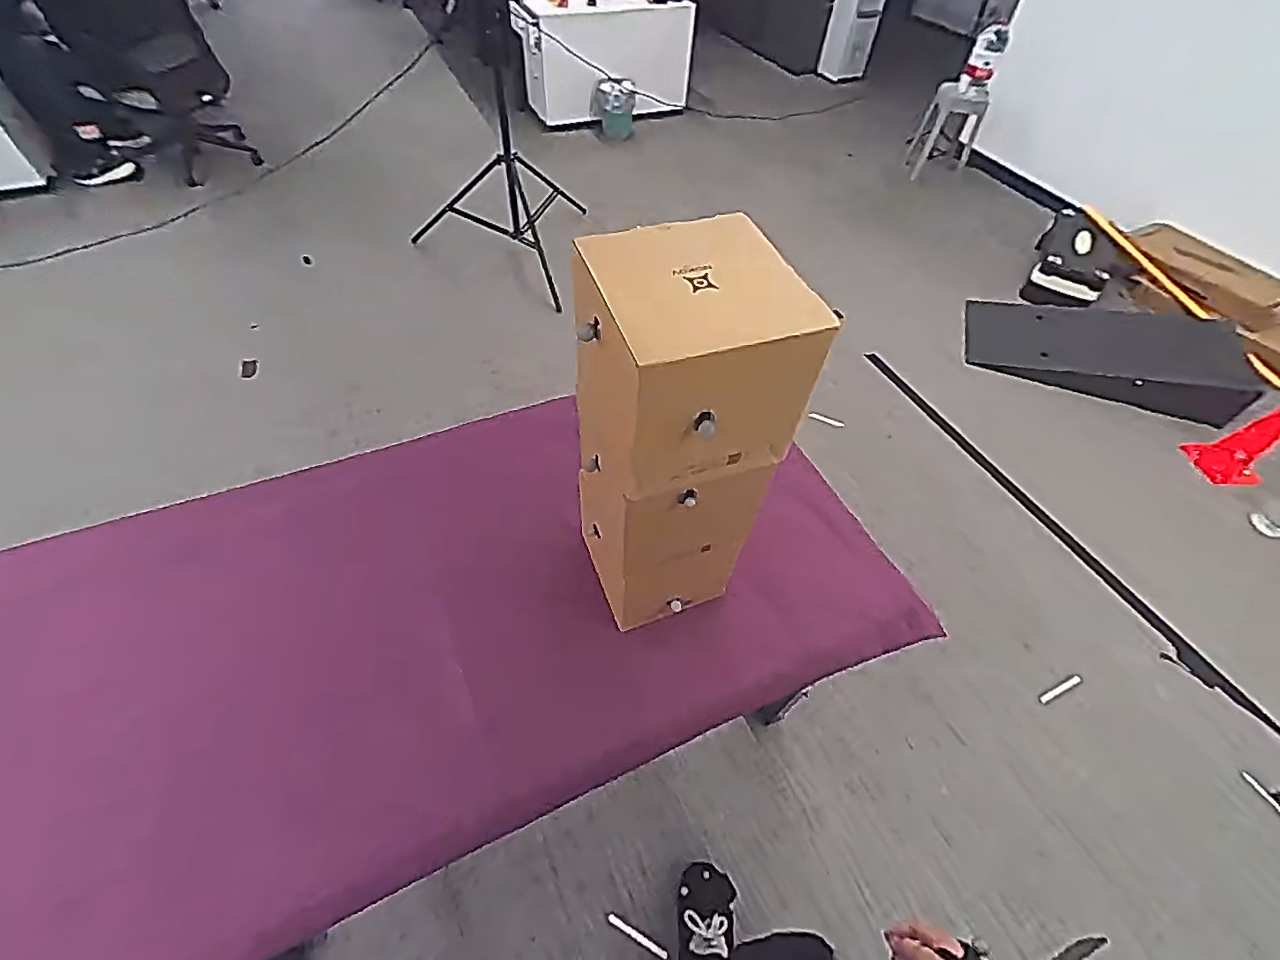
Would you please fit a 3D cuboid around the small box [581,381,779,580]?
[{"bbox_3d":[0.032,-0.013,0.631,0.168,0.176,0.179,-14,54,-13],"label":"small box"}]

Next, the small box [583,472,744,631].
[{"bbox_3d":[0.023,0.083,0.763,0.168,0.176,0.179,-16,56,-15],"label":"small box"}]

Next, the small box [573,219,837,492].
[{"bbox_3d":[0.044,-0.107,0.498,0.168,0.176,0.179,-15,54,-14],"label":"small box"}]
